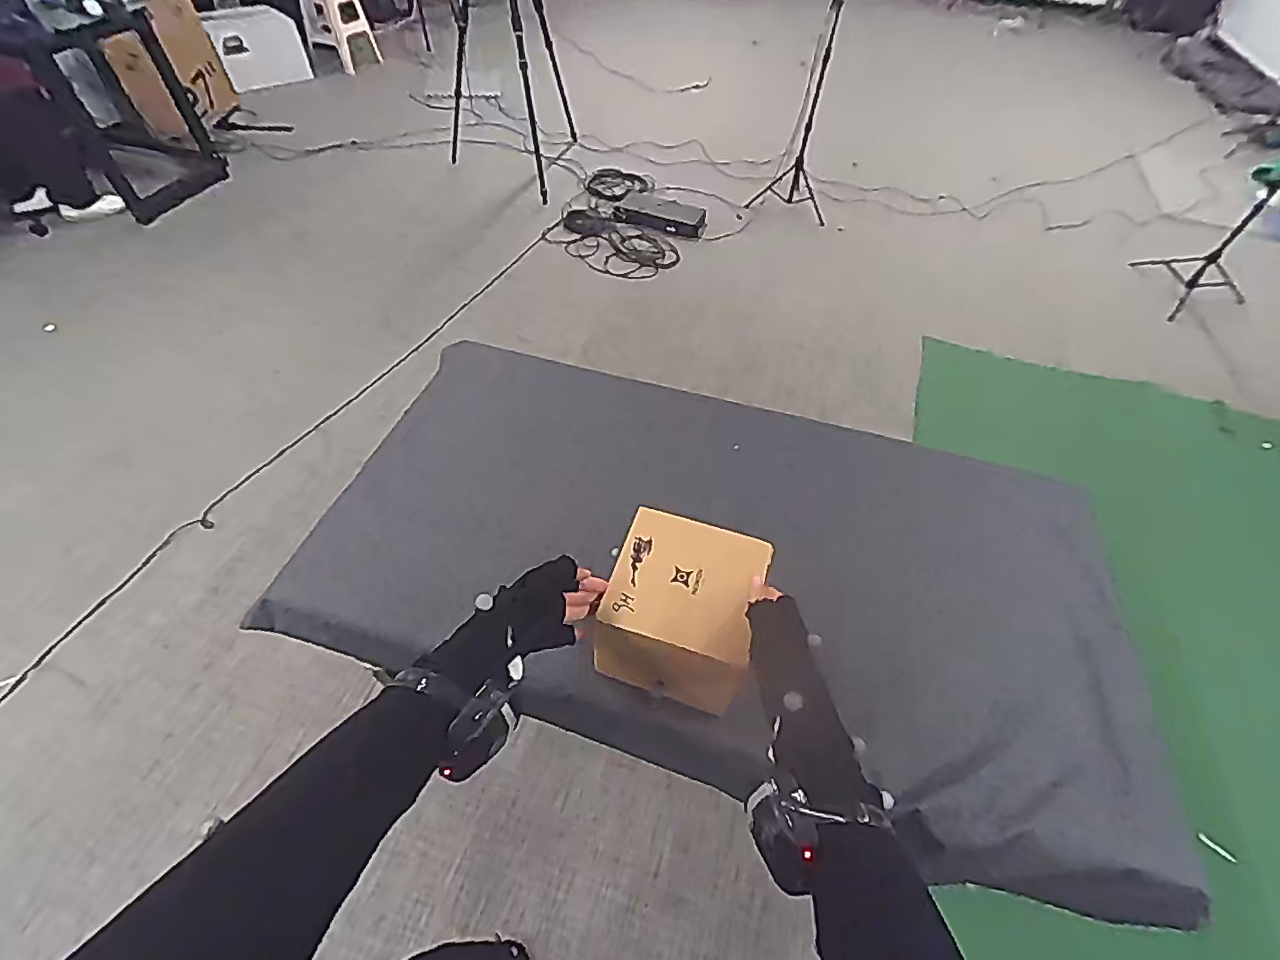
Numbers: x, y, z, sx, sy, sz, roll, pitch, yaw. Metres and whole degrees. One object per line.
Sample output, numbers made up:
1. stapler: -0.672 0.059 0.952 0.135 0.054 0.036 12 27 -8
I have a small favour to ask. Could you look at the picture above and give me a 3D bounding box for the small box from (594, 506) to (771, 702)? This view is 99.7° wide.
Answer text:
1. small box: 0.050 0.166 0.695 0.179 0.176 0.168 17 52 8
